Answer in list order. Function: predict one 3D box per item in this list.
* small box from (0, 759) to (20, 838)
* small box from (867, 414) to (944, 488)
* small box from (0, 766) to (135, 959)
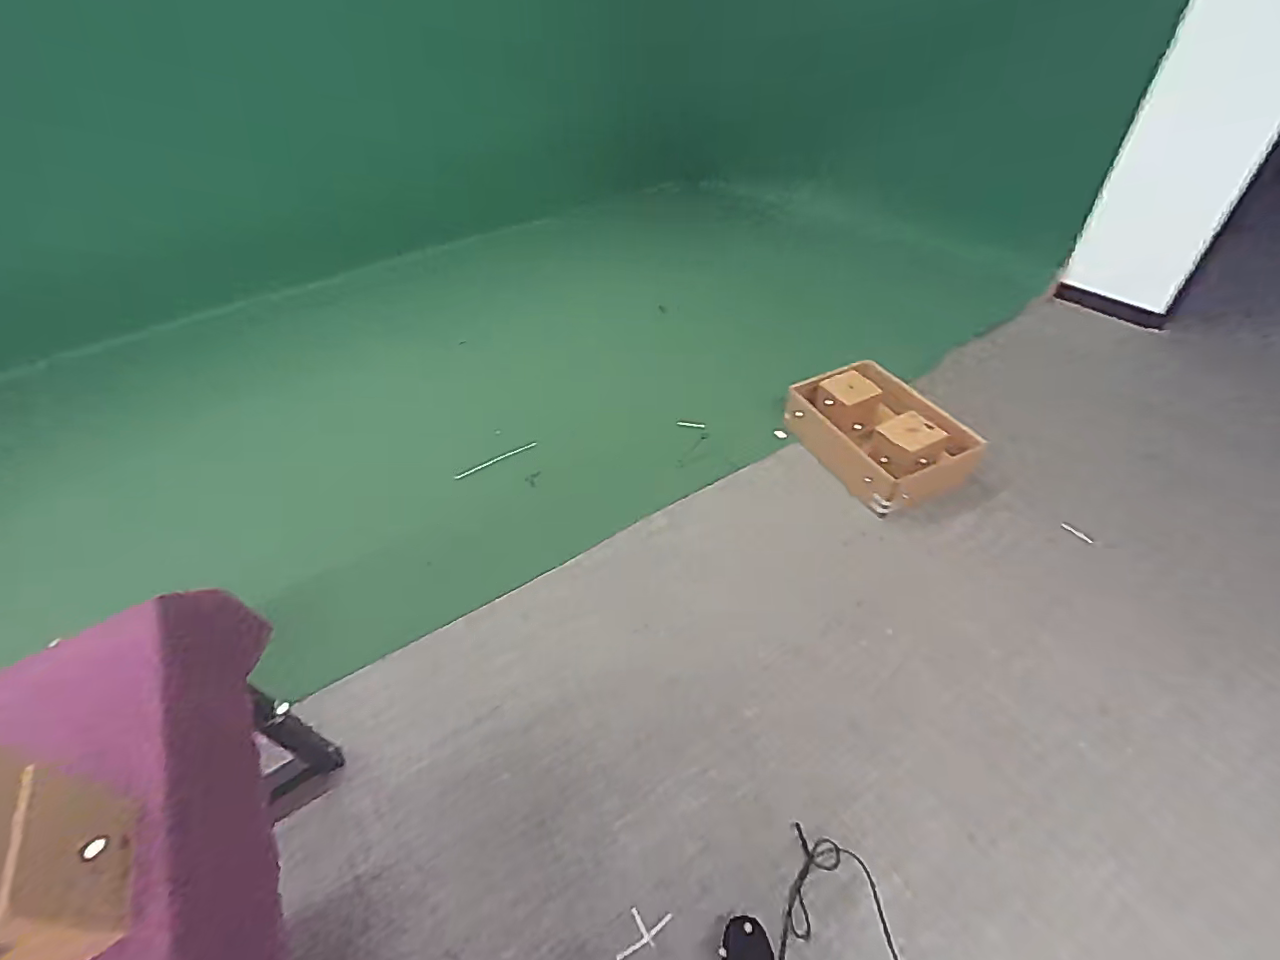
[{"bbox_3d":[-0.739,0.345,0.488,0.168,0.176,0.179,-26,47,-19],"label":"small box"},{"bbox_3d":[0.941,-0.101,1.937,0.179,0.176,0.168,-24,48,-15],"label":"small box"},{"bbox_3d":[-0.718,0.464,0.600,0.179,0.176,0.168,-27,48,-19],"label":"small box"}]
